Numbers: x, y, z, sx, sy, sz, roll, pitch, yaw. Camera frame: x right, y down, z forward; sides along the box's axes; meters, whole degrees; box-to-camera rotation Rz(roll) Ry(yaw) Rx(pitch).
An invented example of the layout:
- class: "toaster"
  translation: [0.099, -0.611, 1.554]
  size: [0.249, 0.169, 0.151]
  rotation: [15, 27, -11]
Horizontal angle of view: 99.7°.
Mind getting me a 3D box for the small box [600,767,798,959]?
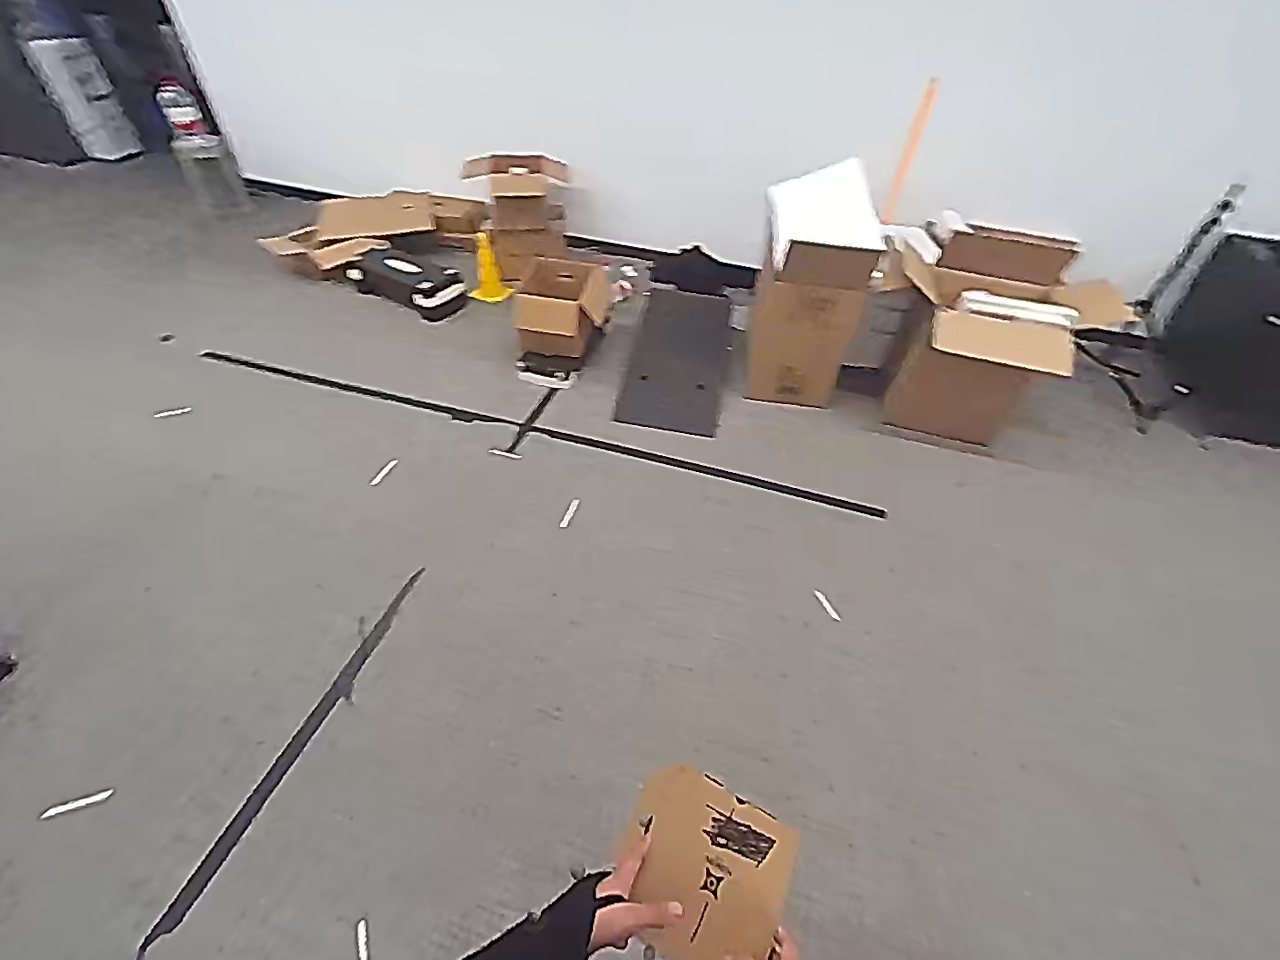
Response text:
- class: "small box"
  translation: [0.065, 0.490, 0.671]
  size: [0.168, 0.176, 0.179]
  rotation: [29, 56, 5]
